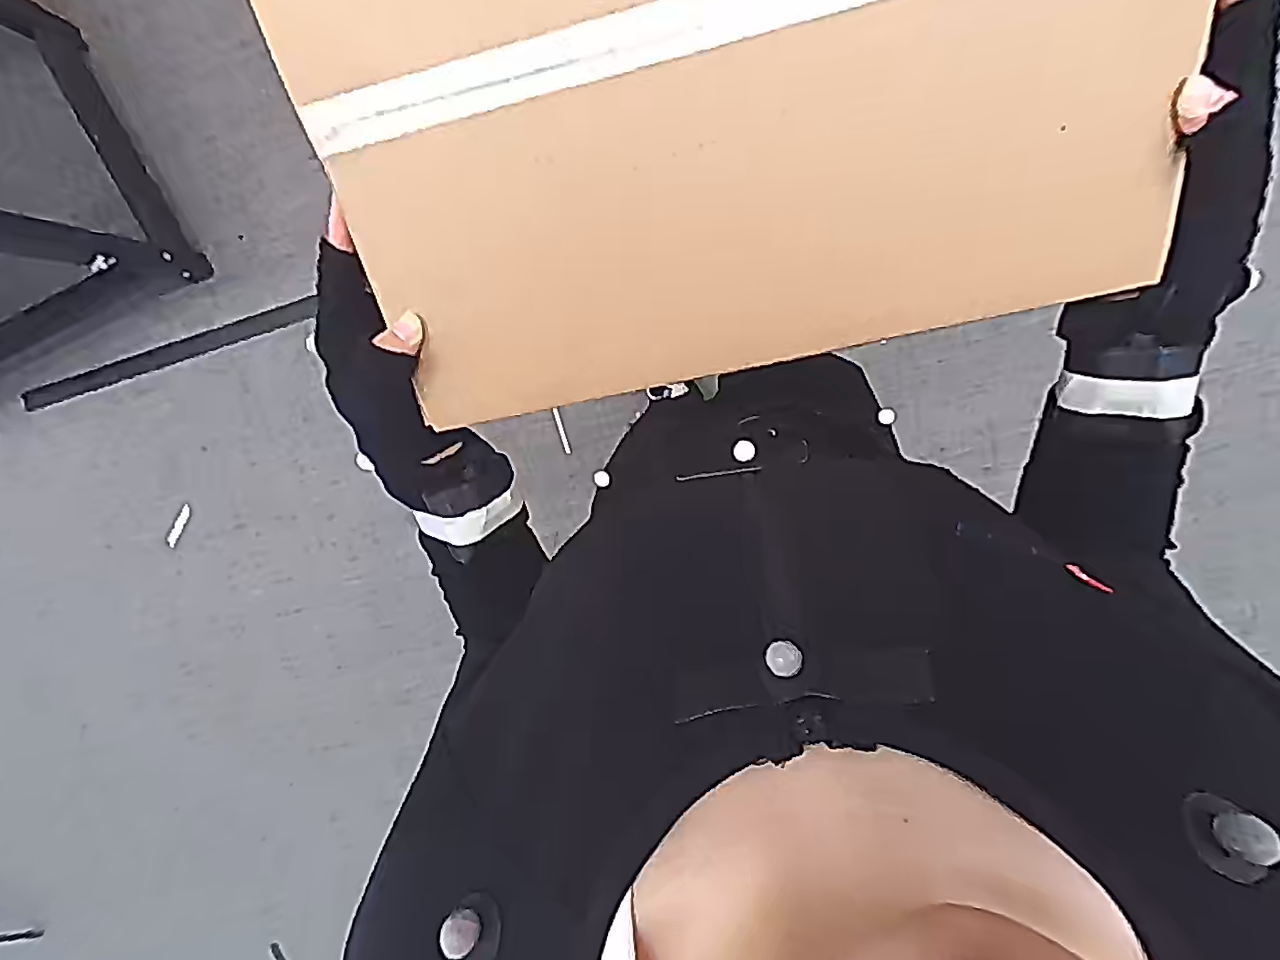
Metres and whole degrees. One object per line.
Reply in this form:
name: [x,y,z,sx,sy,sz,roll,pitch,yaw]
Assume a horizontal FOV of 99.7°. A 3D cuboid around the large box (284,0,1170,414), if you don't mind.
large box: [0.040,-0.274,0.389,0.408,0.320,0.320,-11,115,6]
